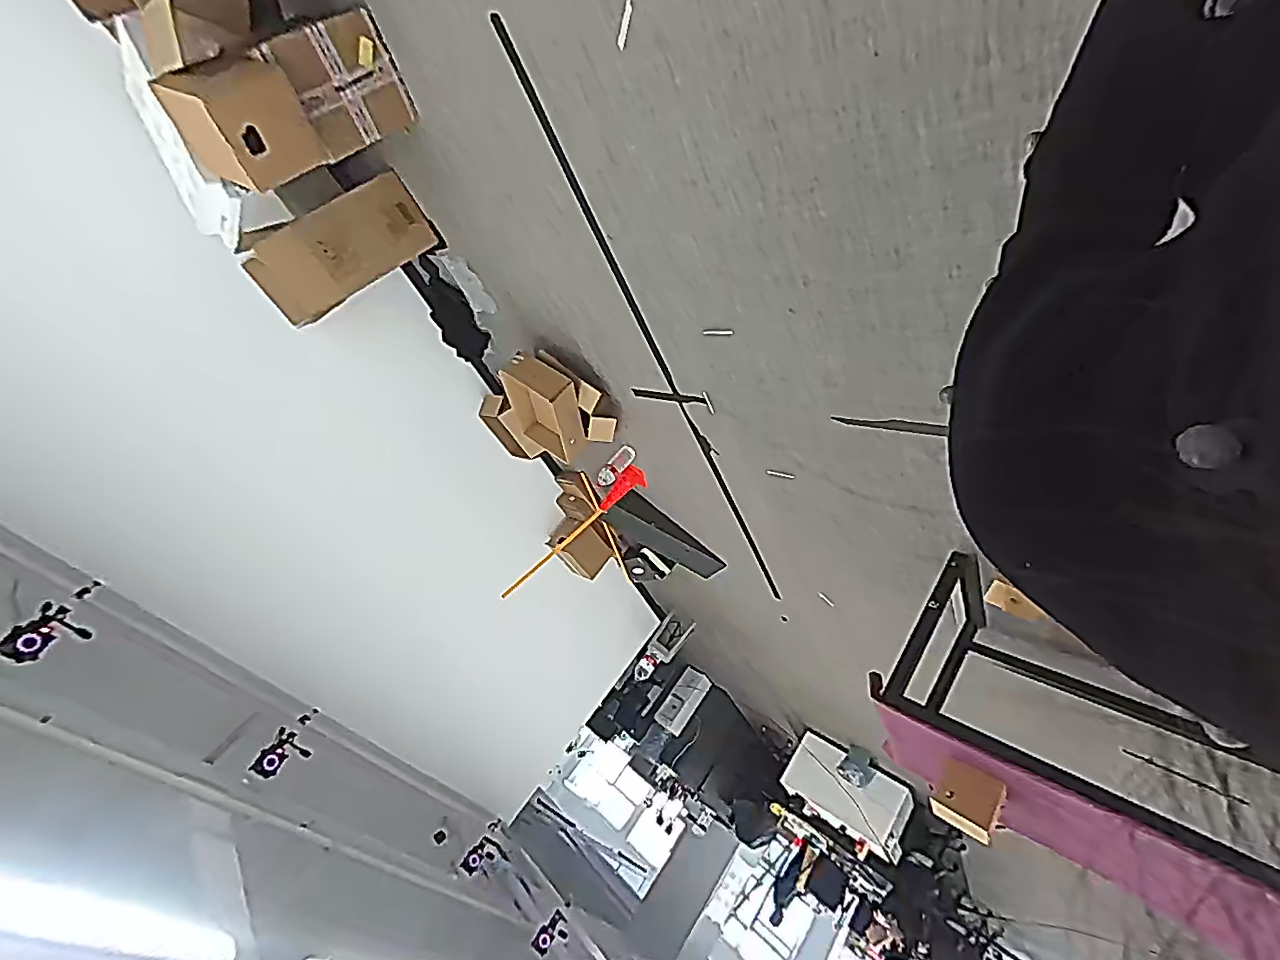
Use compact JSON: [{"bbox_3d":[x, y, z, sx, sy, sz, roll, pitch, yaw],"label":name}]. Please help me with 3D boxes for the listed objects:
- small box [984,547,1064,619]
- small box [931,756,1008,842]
[{"bbox_3d":[1.413,0.370,1.990,0.179,0.176,0.168,25,152,30],"label":"small box"},{"bbox_3d":[1.110,1.063,1.820,0.179,0.176,0.168,16,148,44],"label":"small box"}]
